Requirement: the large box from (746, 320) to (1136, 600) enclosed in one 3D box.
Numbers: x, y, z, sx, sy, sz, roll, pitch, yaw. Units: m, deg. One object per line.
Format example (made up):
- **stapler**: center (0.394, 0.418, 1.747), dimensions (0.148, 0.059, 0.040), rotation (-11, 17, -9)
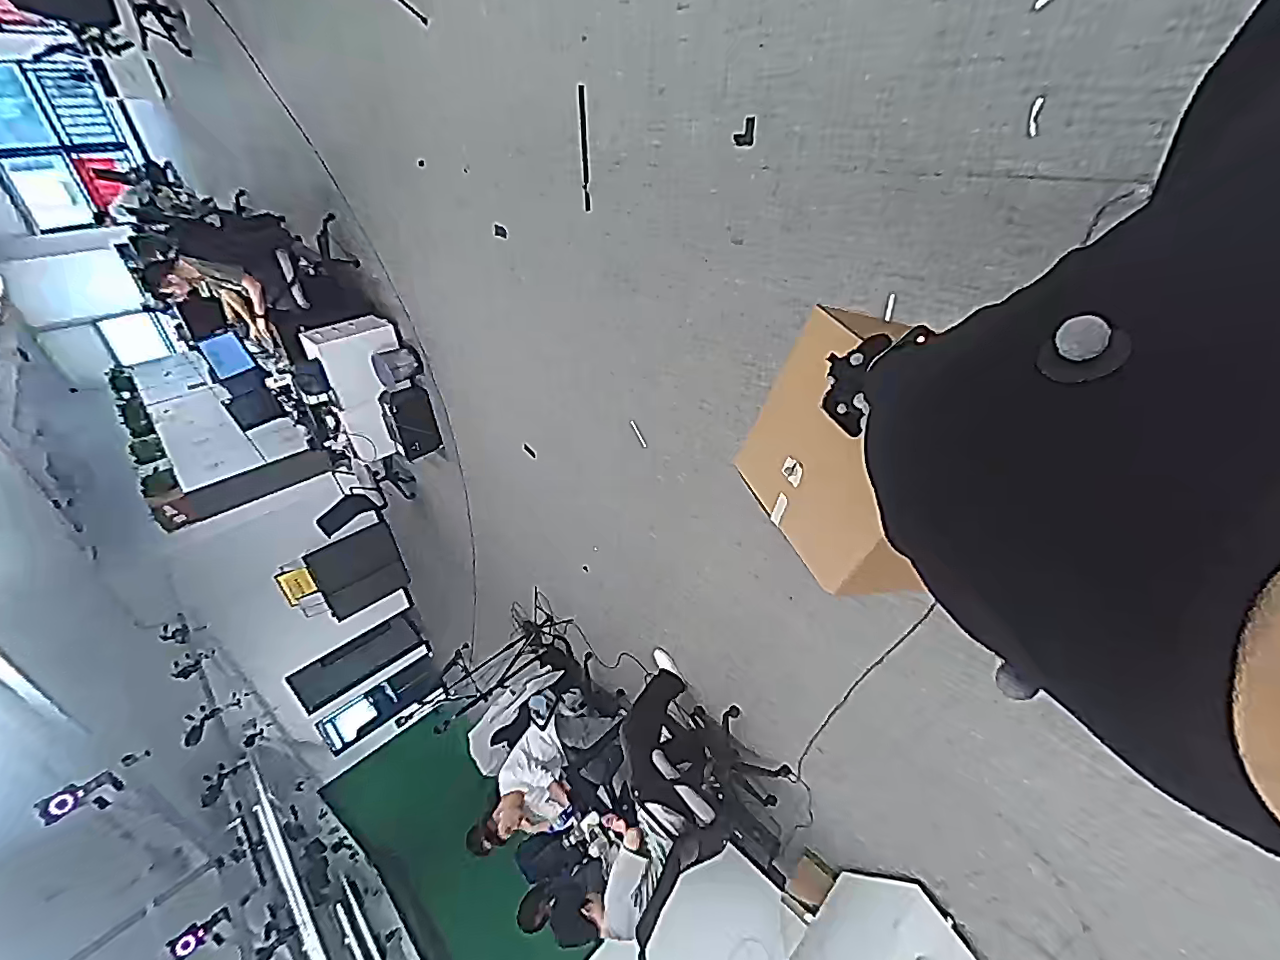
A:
- **large box**: center (0.457, -0.024, 0.890), dimensions (0.320, 0.408, 0.320), rotation (-66, 32, 34)
